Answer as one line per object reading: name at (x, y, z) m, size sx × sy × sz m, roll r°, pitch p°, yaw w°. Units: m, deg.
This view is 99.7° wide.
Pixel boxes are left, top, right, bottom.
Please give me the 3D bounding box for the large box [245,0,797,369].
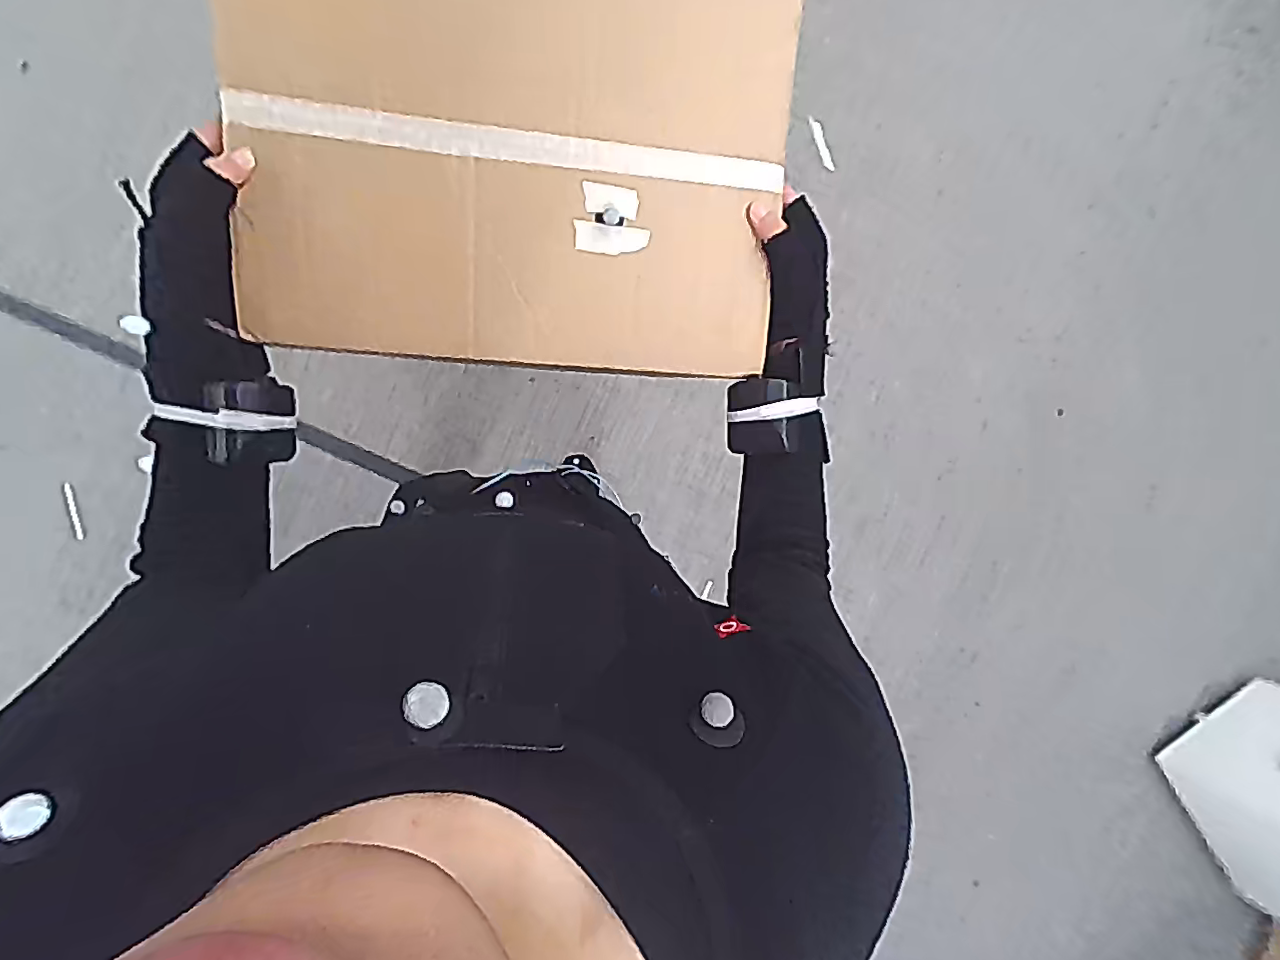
large box at (-0.104, -0.284, 0.558) m, size 0.408 × 0.320 × 0.320 m, roll 2°, pitch 102°, yaw -10°
